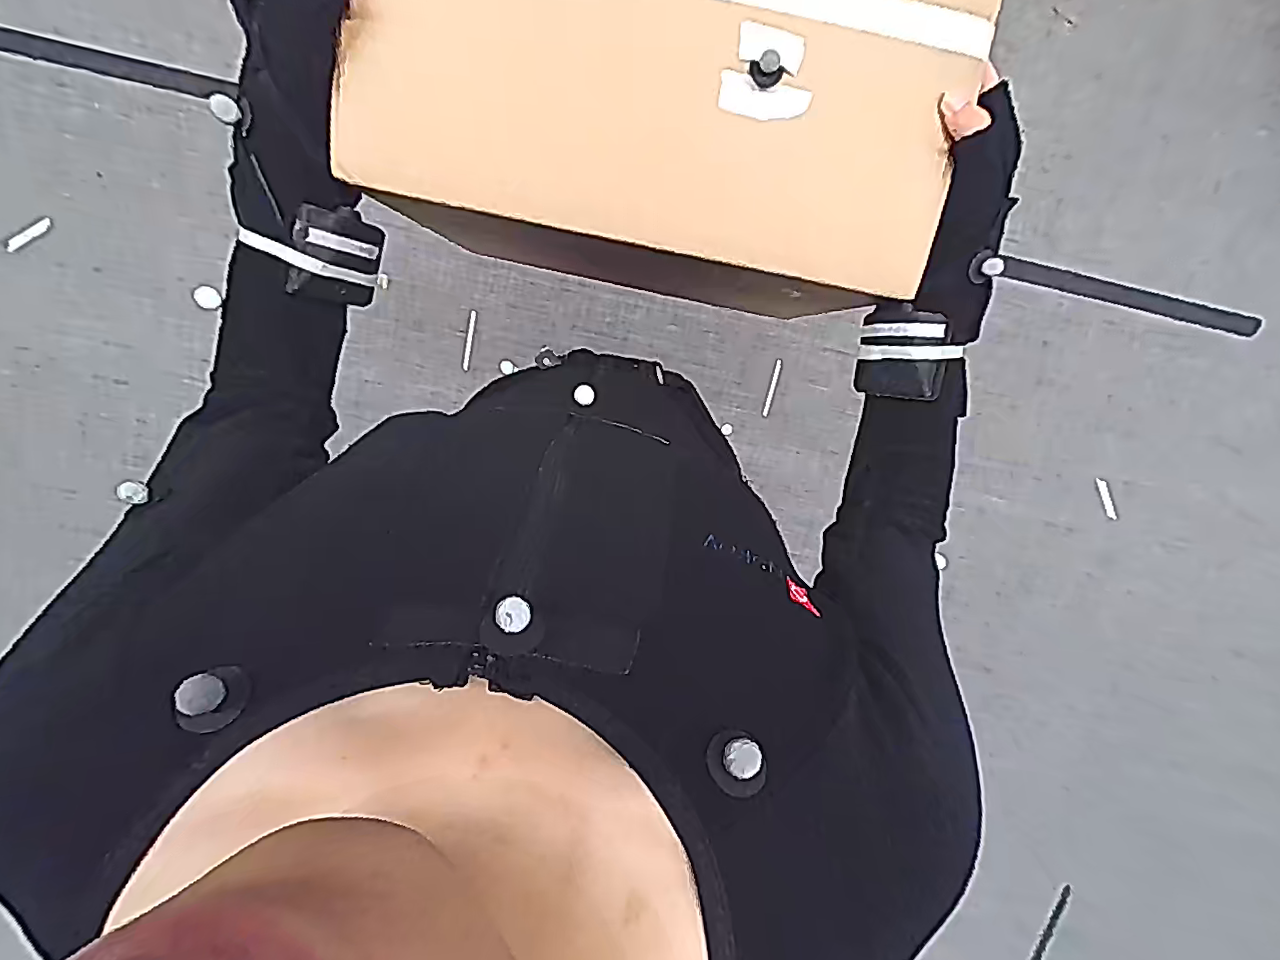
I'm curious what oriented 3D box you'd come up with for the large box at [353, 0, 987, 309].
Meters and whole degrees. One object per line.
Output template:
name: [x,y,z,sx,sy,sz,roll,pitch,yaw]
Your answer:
large box: [0.021,-0.356,0.488,0.408,0.320,0.320,10,104,-4]
